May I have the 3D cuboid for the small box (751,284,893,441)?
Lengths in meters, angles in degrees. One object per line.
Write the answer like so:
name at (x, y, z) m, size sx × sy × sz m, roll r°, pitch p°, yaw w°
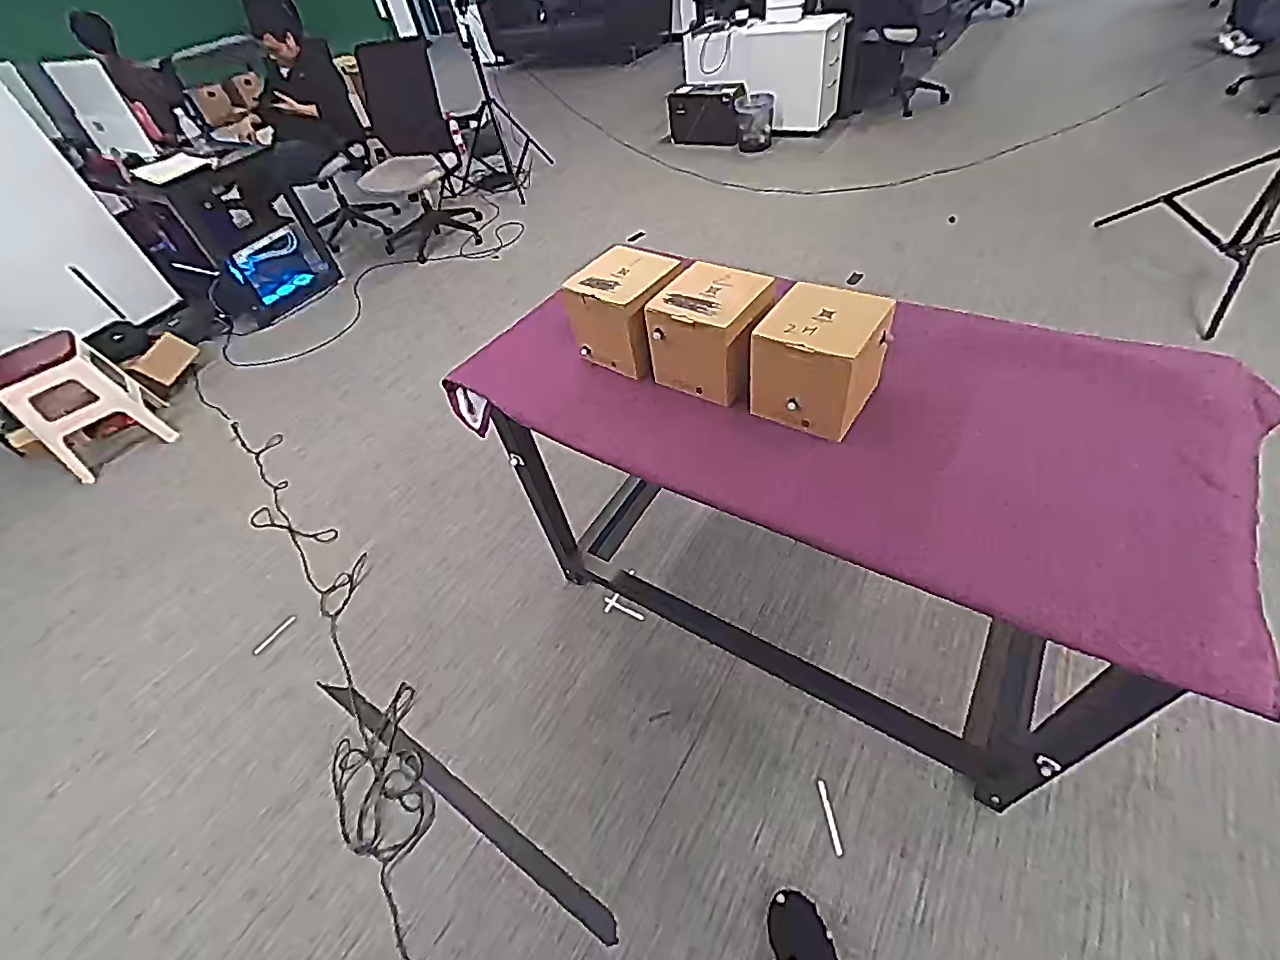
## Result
small box at (0.296, -0.197, 0.905) m, size 0.168 × 0.176 × 0.179 m, roll 23°, pitch 56°, yaw 29°
